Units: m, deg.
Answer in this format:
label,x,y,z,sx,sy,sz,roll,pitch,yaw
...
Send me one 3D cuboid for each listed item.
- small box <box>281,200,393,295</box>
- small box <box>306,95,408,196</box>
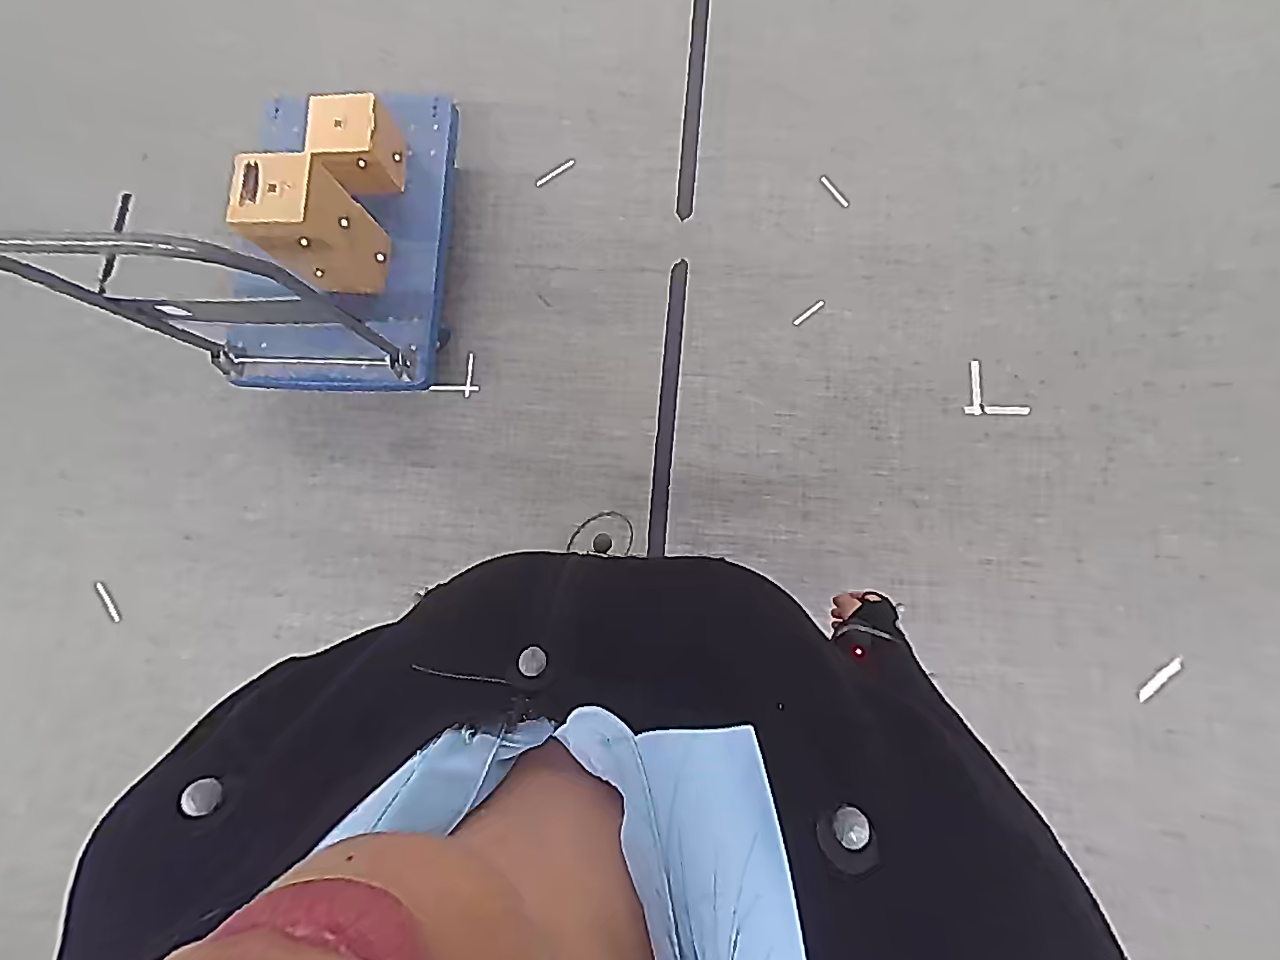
label,x,y,z,sx,sy,sz,roll,pitch,yaw
small box,-0.781,-0.598,1.407,0.179,0.176,0.168,6,83,4
small box,-0.753,-0.889,1.450,0.179,0.176,0.168,-1,82,3
